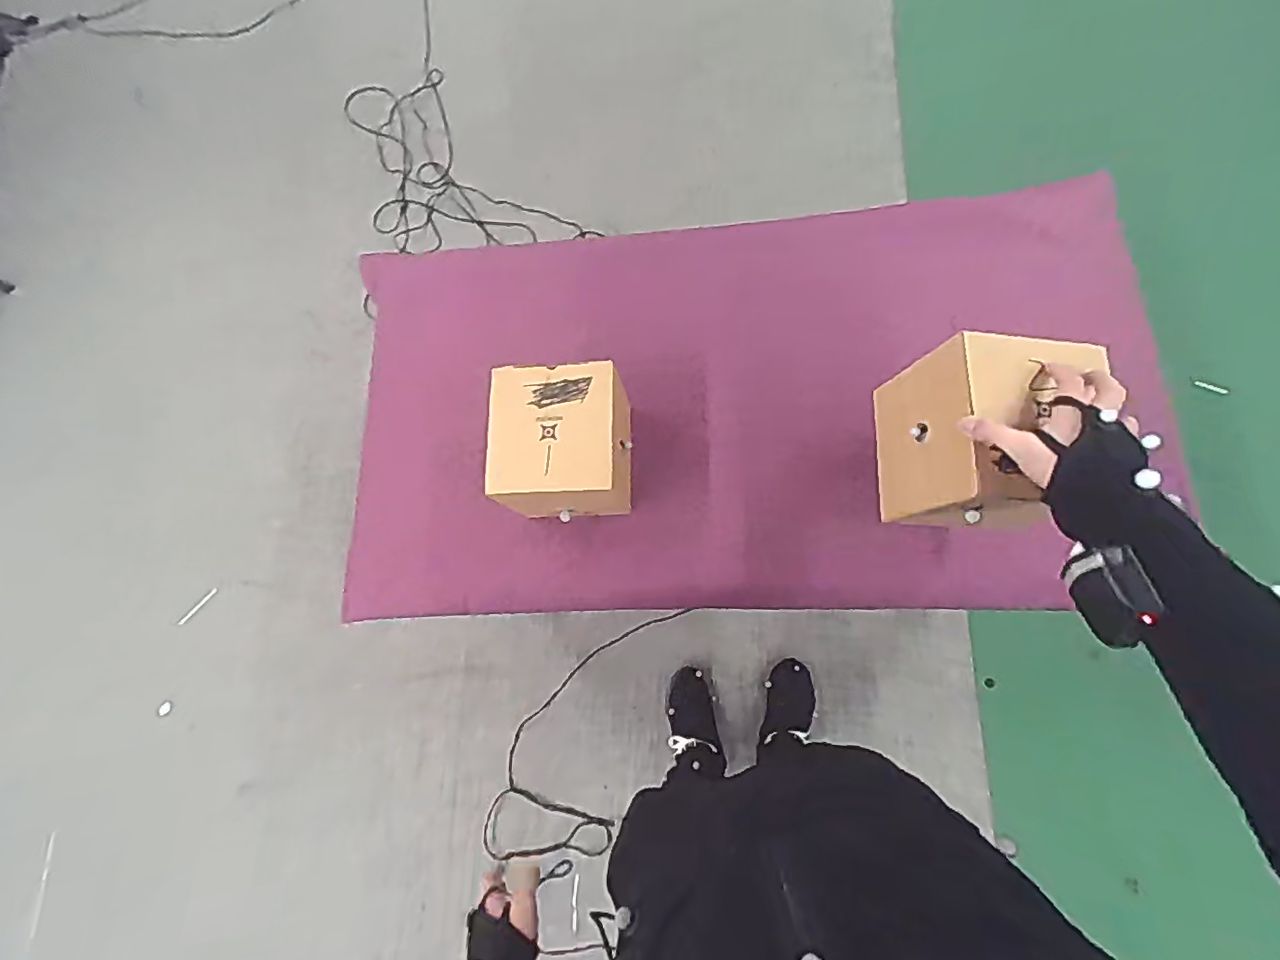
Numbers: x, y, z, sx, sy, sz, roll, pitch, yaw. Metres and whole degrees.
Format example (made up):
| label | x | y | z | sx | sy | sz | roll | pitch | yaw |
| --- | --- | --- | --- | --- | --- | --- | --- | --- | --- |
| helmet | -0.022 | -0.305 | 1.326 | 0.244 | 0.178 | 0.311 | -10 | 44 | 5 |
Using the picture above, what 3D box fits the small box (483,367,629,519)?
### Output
| label | x | y | z | sx | sy | sz | roll | pitch | yaw |
| --- | --- | --- | --- | --- | --- | --- | --- | --- | --- |
| small box | -0.109 | -0.045 | 0.774 | 0.168 | 0.176 | 0.179 | -2 | 76 | 7 |
